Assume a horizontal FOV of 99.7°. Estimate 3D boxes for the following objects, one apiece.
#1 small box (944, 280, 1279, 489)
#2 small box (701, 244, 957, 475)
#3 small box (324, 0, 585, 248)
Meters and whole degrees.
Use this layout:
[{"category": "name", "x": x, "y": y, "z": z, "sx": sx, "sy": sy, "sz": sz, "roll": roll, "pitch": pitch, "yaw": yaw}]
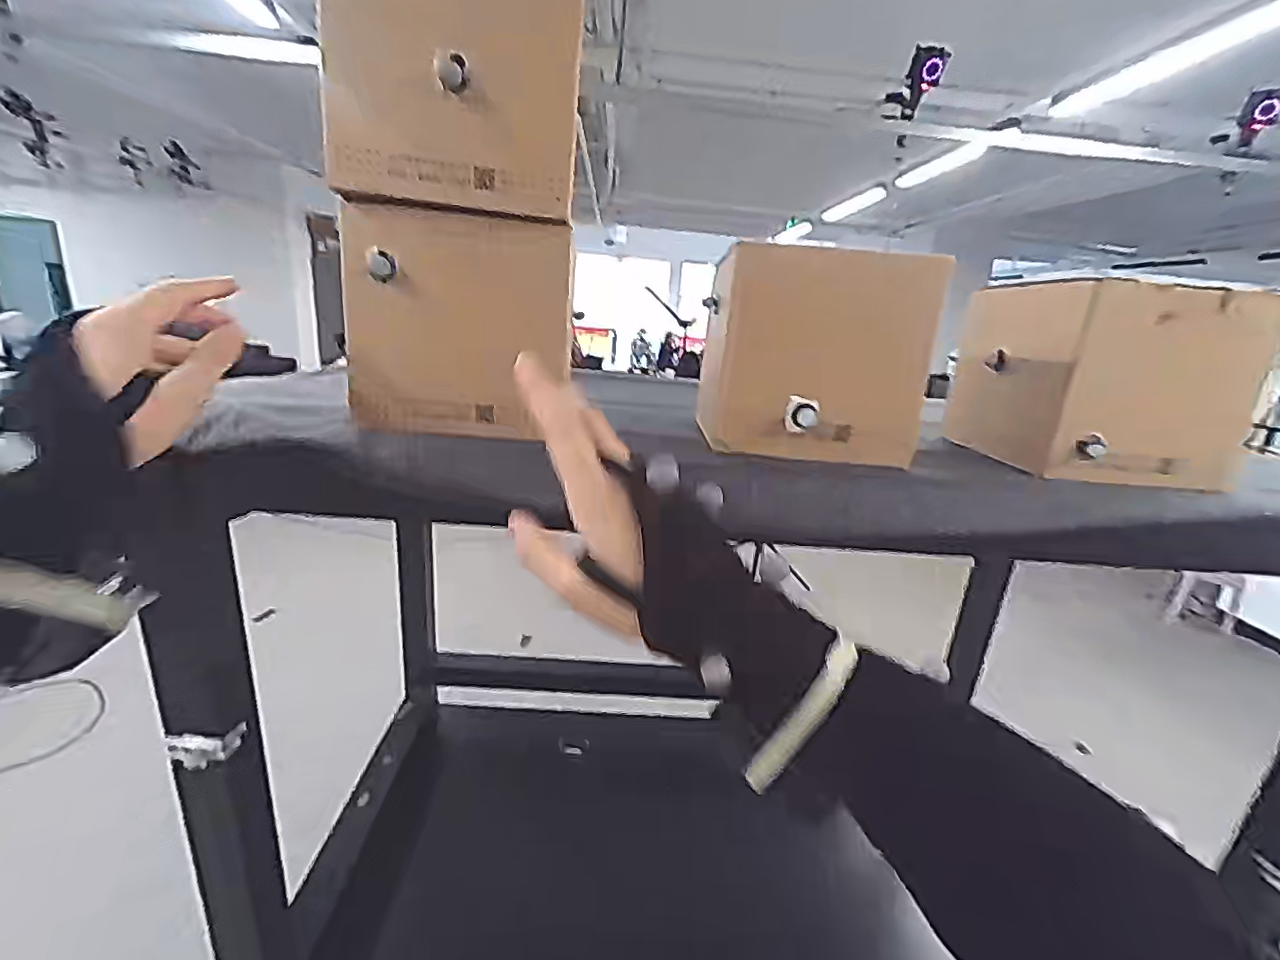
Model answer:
[{"category": "small box", "x": 0.434, "y": -0.095, "z": 0.527, "sx": 0.168, "sy": 0.176, "sz": 0.179, "roll": 4, "pitch": 16, "yaw": -1}, {"category": "small box", "x": 0.152, "y": -0.111, "z": 0.505, "sx": 0.168, "sy": 0.176, "sz": 0.179, "roll": 4, "pitch": 16, "yaw": 0}, {"category": "small box", "x": -0.131, "y": -0.289, "z": 0.433, "sx": 0.168, "sy": 0.176, "sz": 0.179, "roll": 4, "pitch": 17, "yaw": -10}]
